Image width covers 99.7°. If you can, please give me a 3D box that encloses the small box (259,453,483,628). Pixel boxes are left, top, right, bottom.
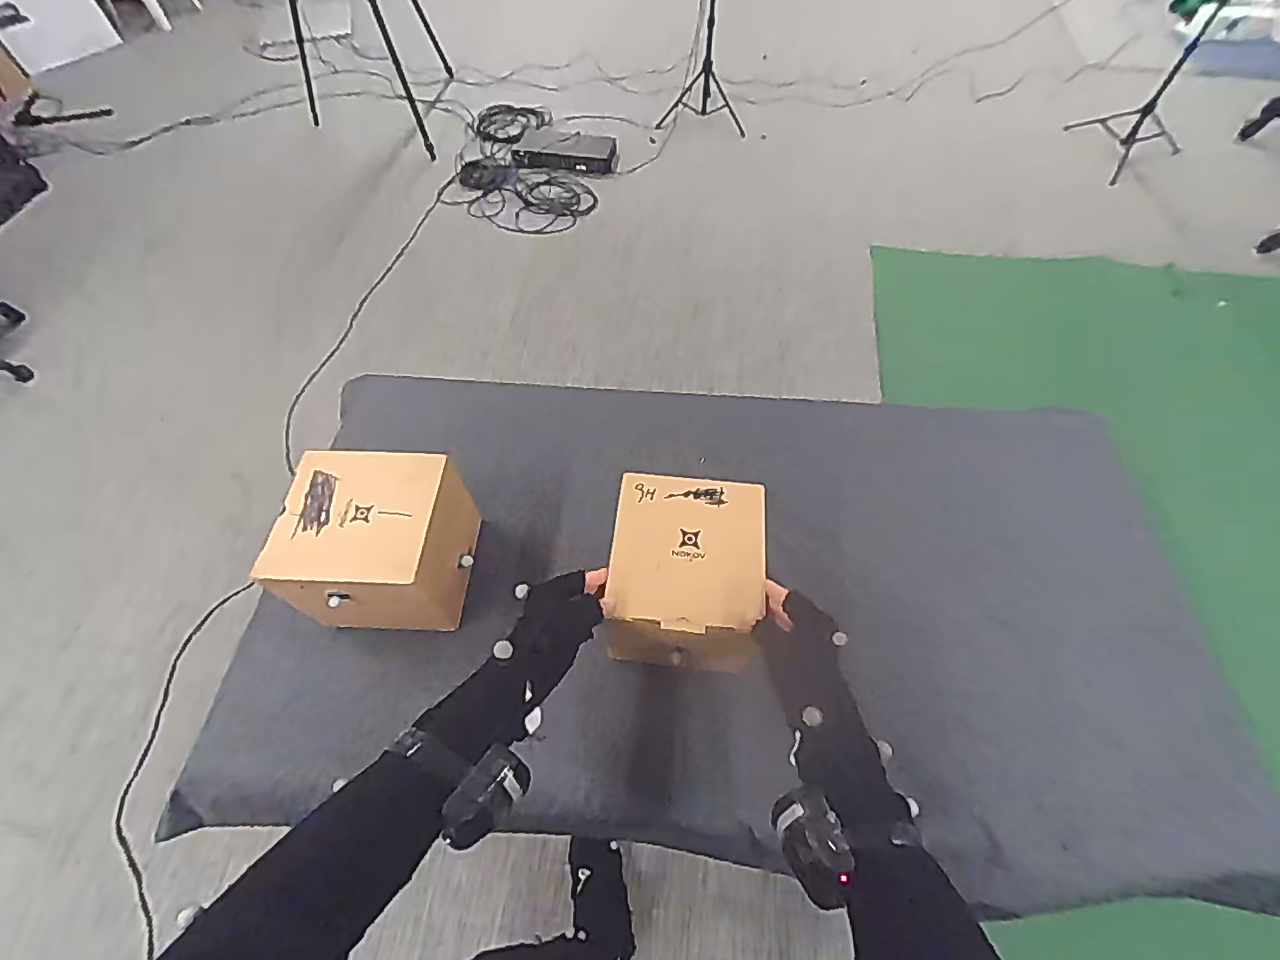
[{"bbox_3d":[-0.315,0.081,0.678,0.179,0.176,0.168,2,59,1],"label":"small box"}]

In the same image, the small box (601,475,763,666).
[{"bbox_3d":[0.053,0.116,0.655,0.168,0.176,0.179,5,59,4],"label":"small box"}]
